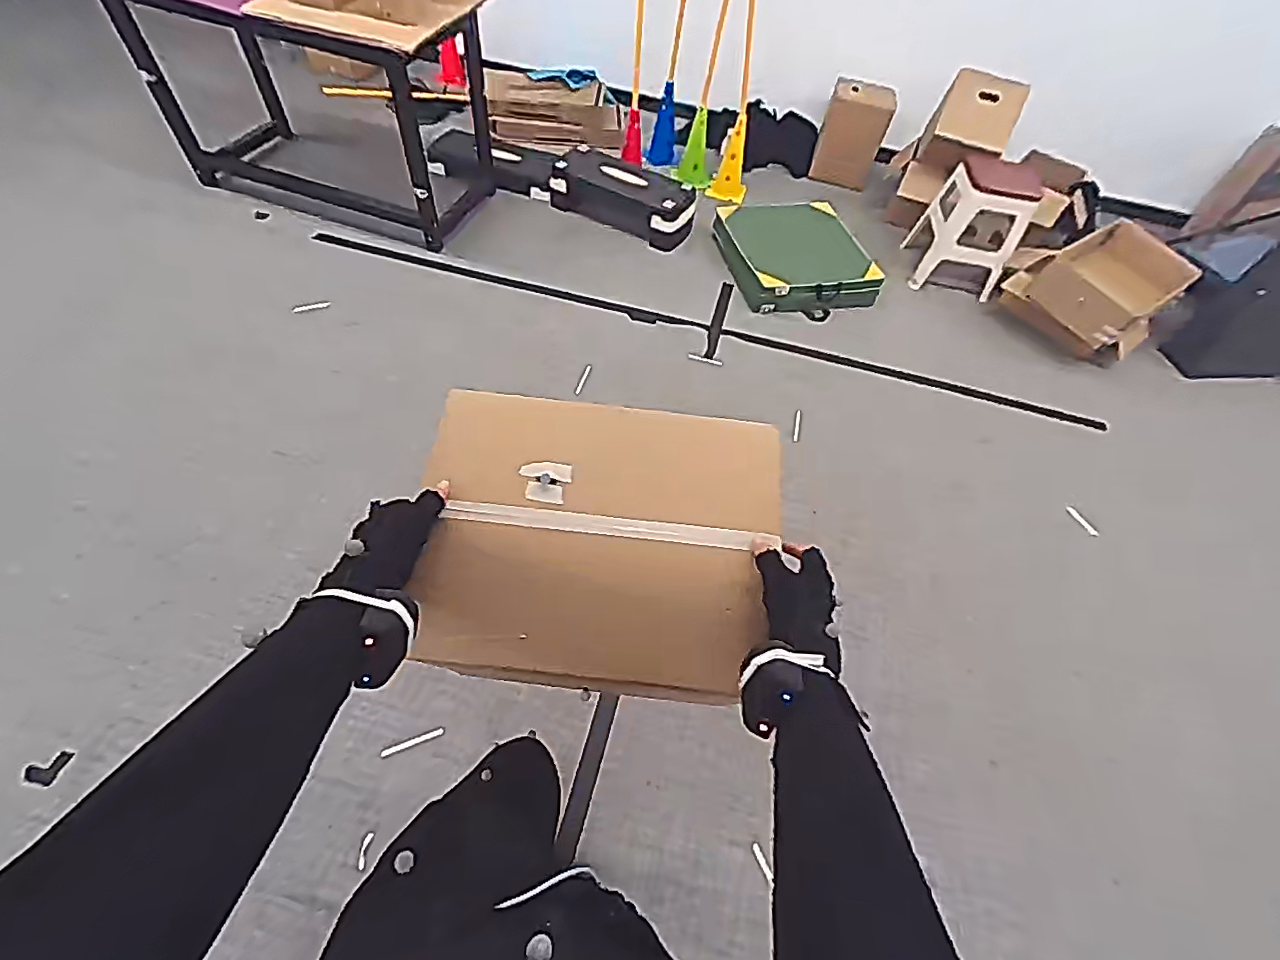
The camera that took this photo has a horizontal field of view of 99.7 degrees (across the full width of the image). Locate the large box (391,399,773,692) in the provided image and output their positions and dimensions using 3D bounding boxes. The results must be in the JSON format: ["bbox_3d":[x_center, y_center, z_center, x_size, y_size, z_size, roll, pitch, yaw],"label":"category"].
[{"bbox_3d":[-0.051,0.113,0.751,0.408,0.320,0.320,6,65,1],"label":"large box"}]
